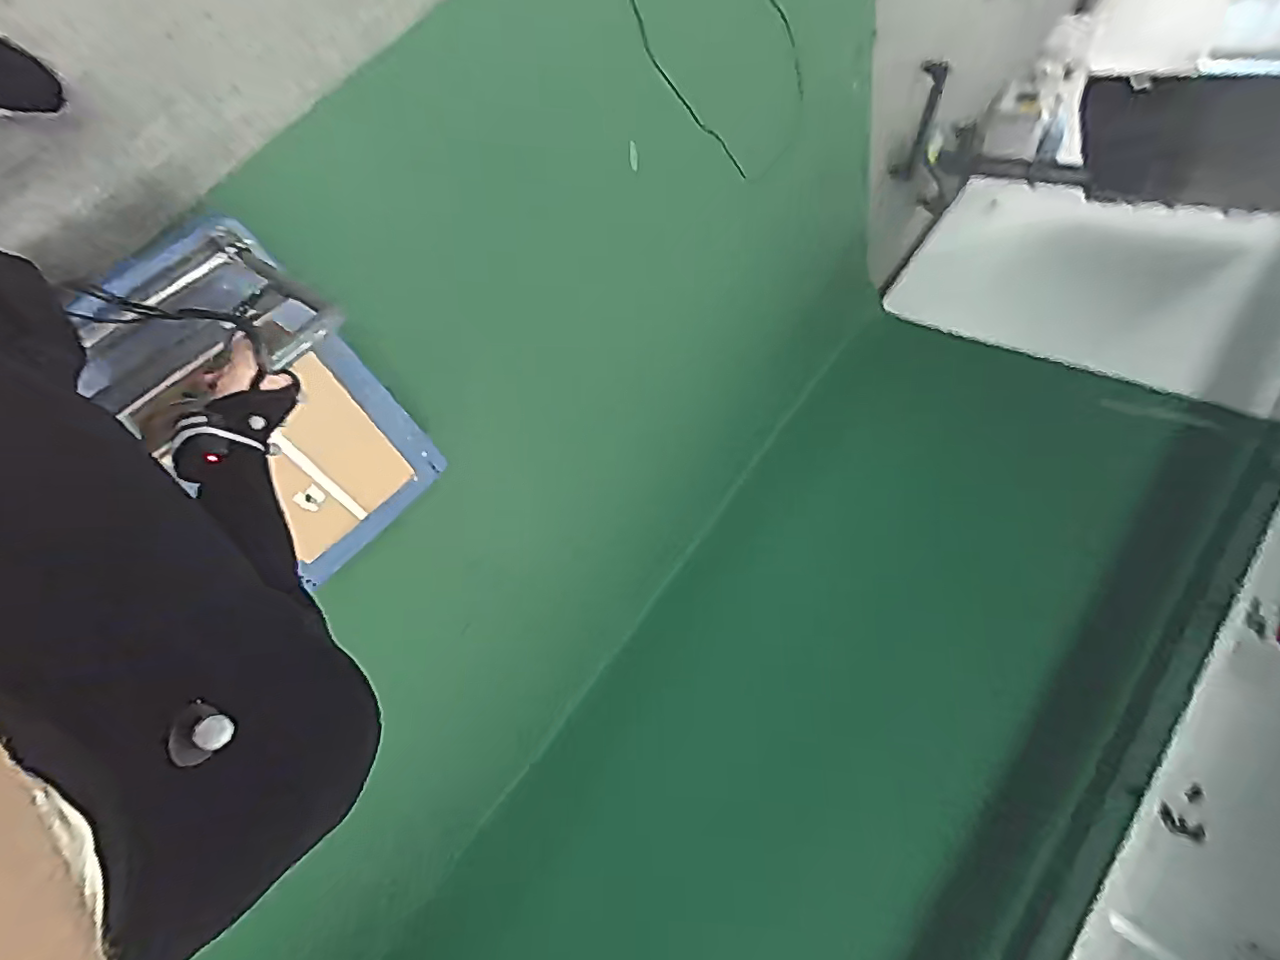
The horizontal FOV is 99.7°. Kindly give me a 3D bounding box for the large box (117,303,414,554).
[{"bbox_3d":[-0.806,-0.111,1.207,0.320,0.320,0.408,-45,146,-20],"label":"large box"}]
